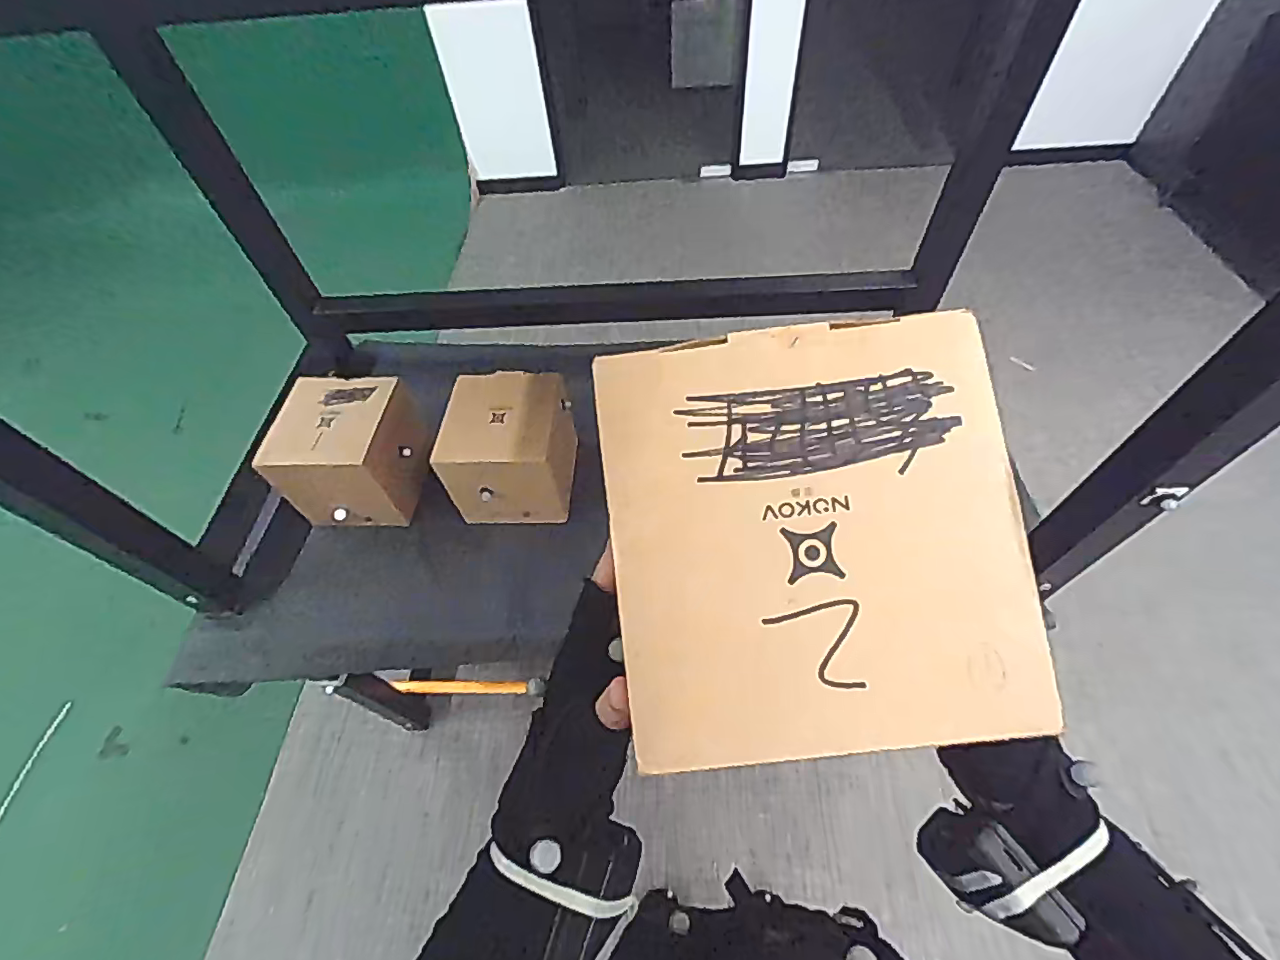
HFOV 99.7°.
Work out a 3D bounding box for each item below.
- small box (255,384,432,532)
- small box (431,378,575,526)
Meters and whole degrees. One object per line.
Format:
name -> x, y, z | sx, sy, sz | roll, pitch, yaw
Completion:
small box -> -0.455, -0.035, 0.867 | 0.168, 0.176, 0.179 | 0, 54, 4
small box -> -0.202, -0.038, 0.854 | 0.168, 0.176, 0.179 | -1, 53, 4
